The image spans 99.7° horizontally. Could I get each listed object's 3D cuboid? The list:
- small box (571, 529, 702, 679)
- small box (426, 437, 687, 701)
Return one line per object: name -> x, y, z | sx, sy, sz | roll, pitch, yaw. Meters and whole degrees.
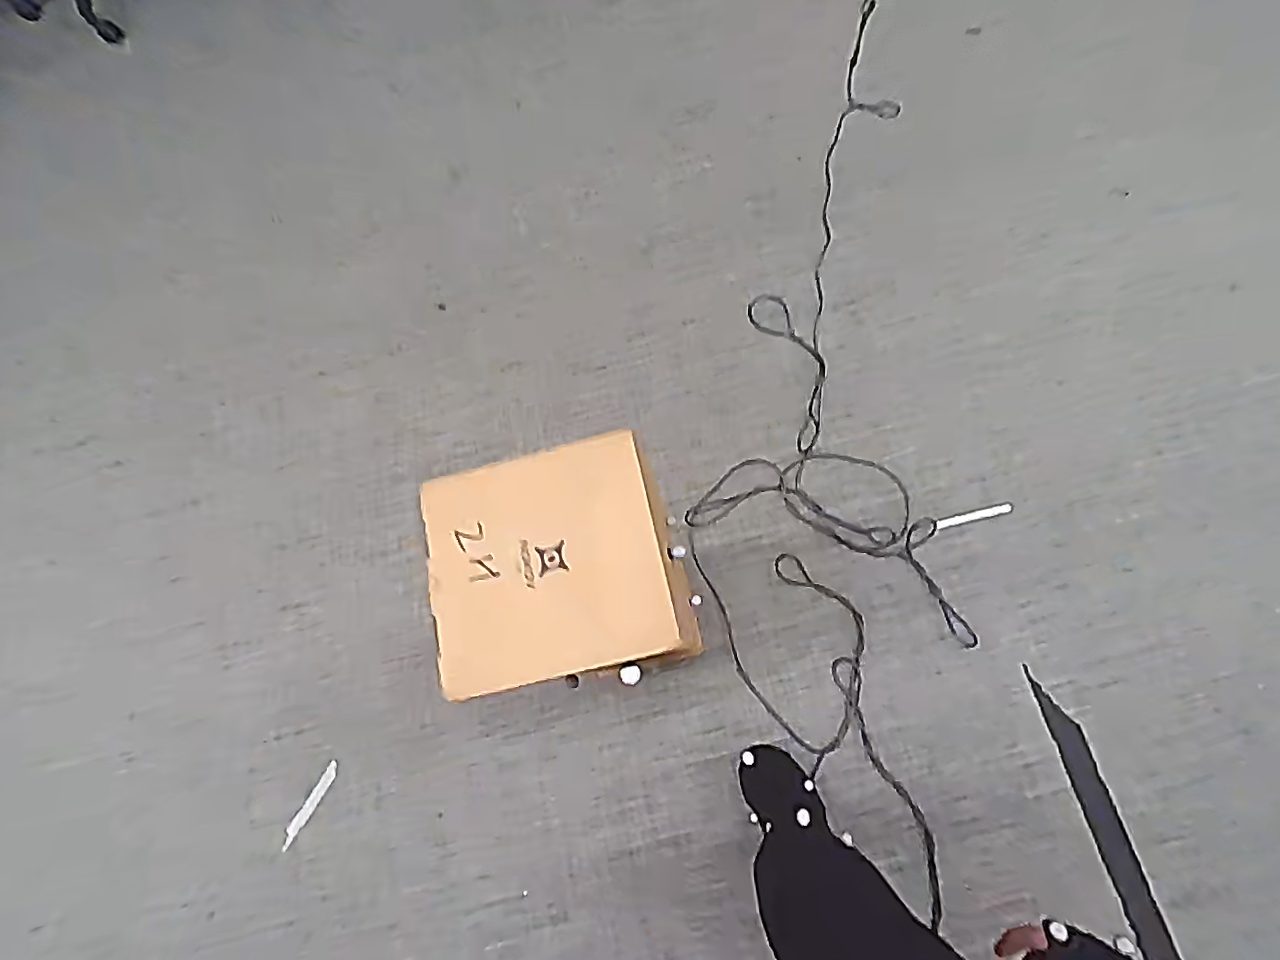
small box -> -0.012, 0.179, 0.788 | 0.179, 0.176, 0.168 | -15, 74, 5
small box -> -0.059, 0.082, 0.475 | 0.179, 0.176, 0.168 | -14, 72, 5
